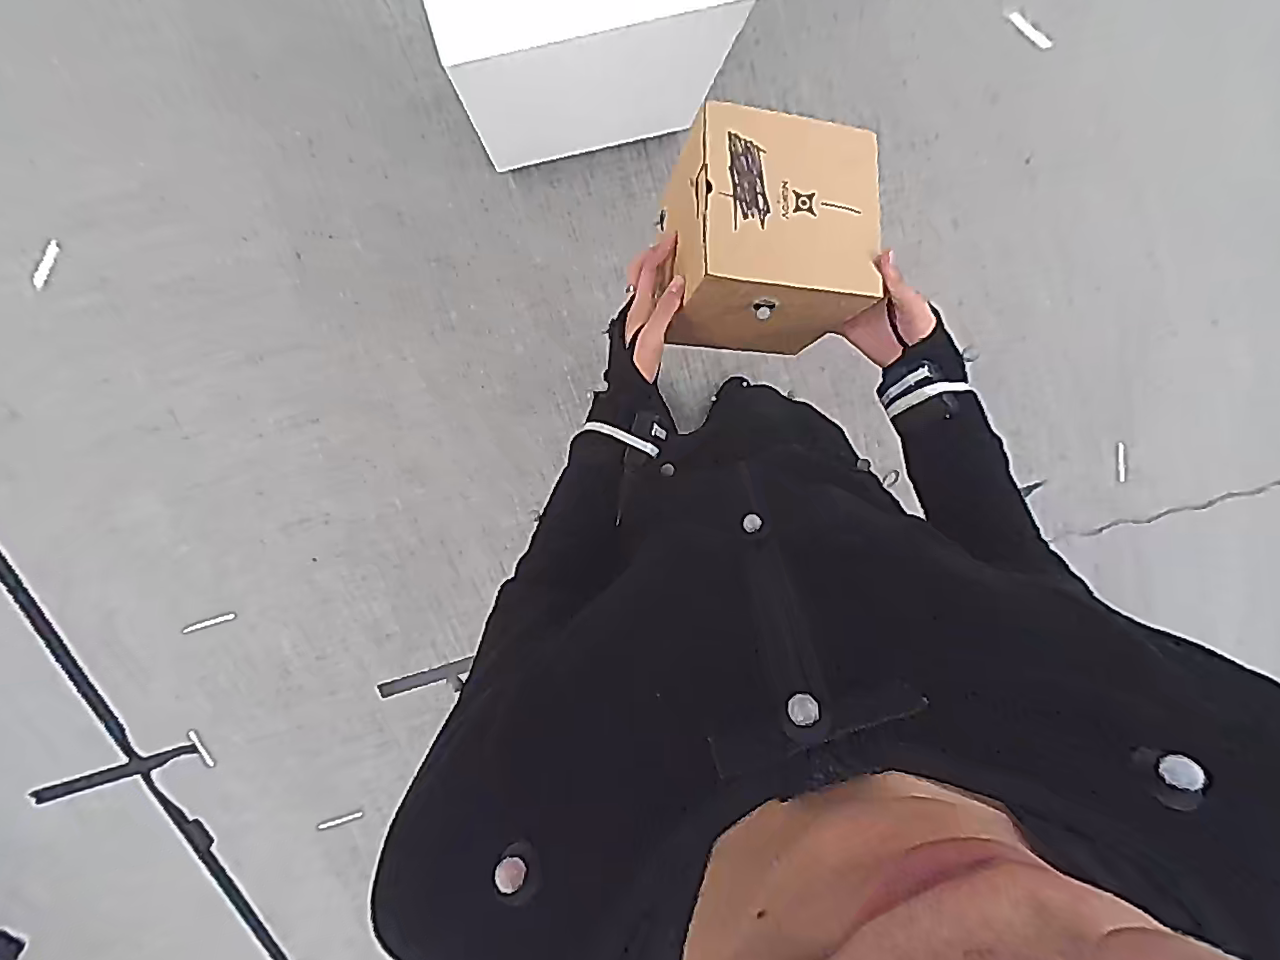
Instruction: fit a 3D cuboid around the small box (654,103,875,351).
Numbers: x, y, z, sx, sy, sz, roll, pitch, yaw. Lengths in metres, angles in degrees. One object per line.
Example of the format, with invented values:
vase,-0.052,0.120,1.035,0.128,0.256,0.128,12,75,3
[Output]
small box,0.114,-0.244,0.565,0.179,0.176,0.168,1,84,-13
